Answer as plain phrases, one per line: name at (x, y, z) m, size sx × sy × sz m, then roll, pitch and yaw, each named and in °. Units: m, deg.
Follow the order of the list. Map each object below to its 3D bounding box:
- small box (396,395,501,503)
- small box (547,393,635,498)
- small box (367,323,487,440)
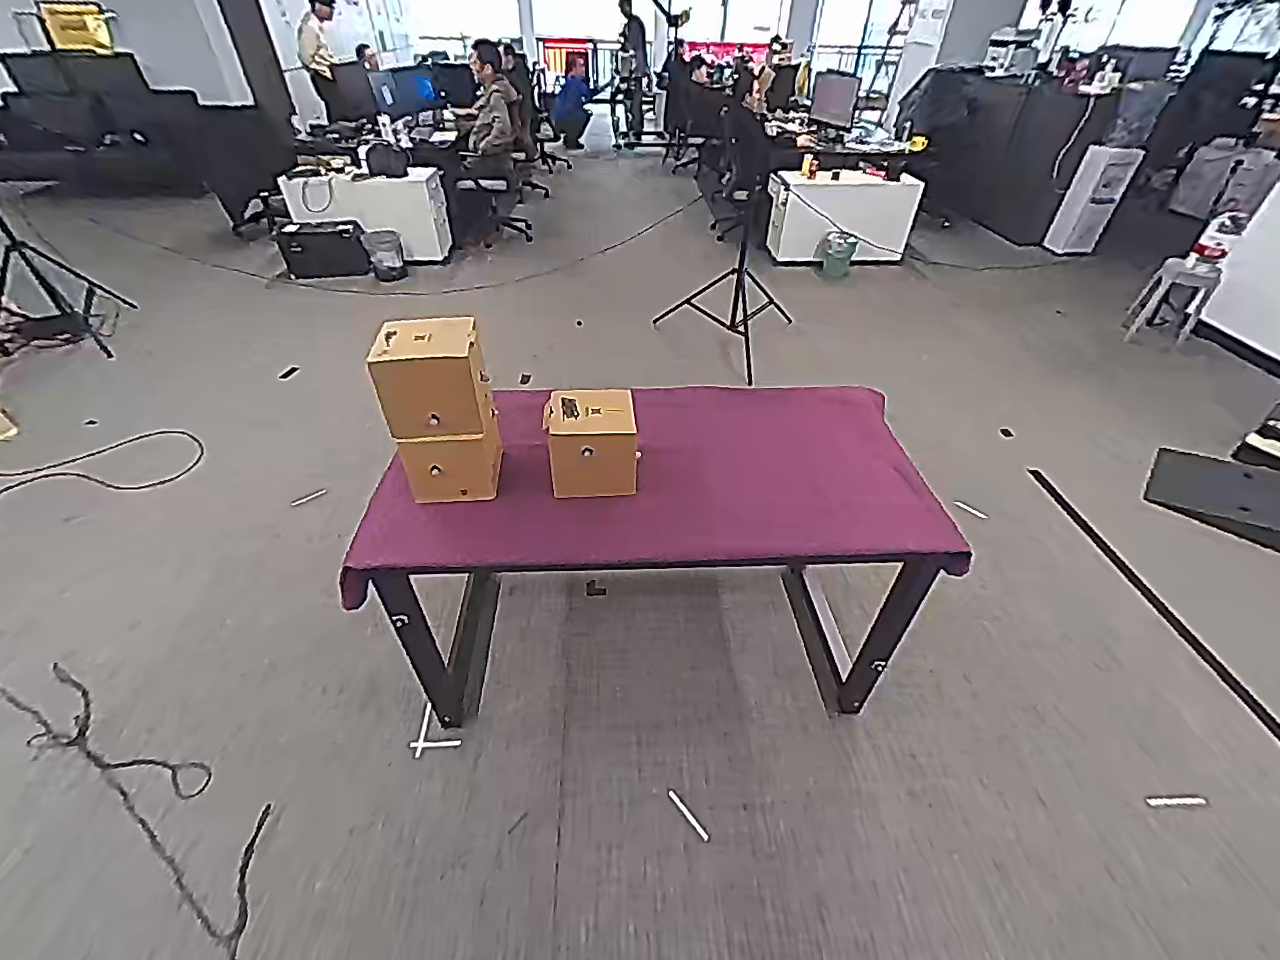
small box at (-0.397, -0.063, 1.156) m, size 0.168 × 0.176 × 0.179 m, roll -4°, pitch 40°, yaw -5°
small box at (-0.103, -0.074, 1.174) m, size 0.179 × 0.176 × 0.168 m, roll -2°, pitch 41°, yaw -5°
small box at (-0.400, -0.192, 1.055) m, size 0.179 × 0.176 × 0.168 m, roll -4°, pitch 40°, yaw -7°
